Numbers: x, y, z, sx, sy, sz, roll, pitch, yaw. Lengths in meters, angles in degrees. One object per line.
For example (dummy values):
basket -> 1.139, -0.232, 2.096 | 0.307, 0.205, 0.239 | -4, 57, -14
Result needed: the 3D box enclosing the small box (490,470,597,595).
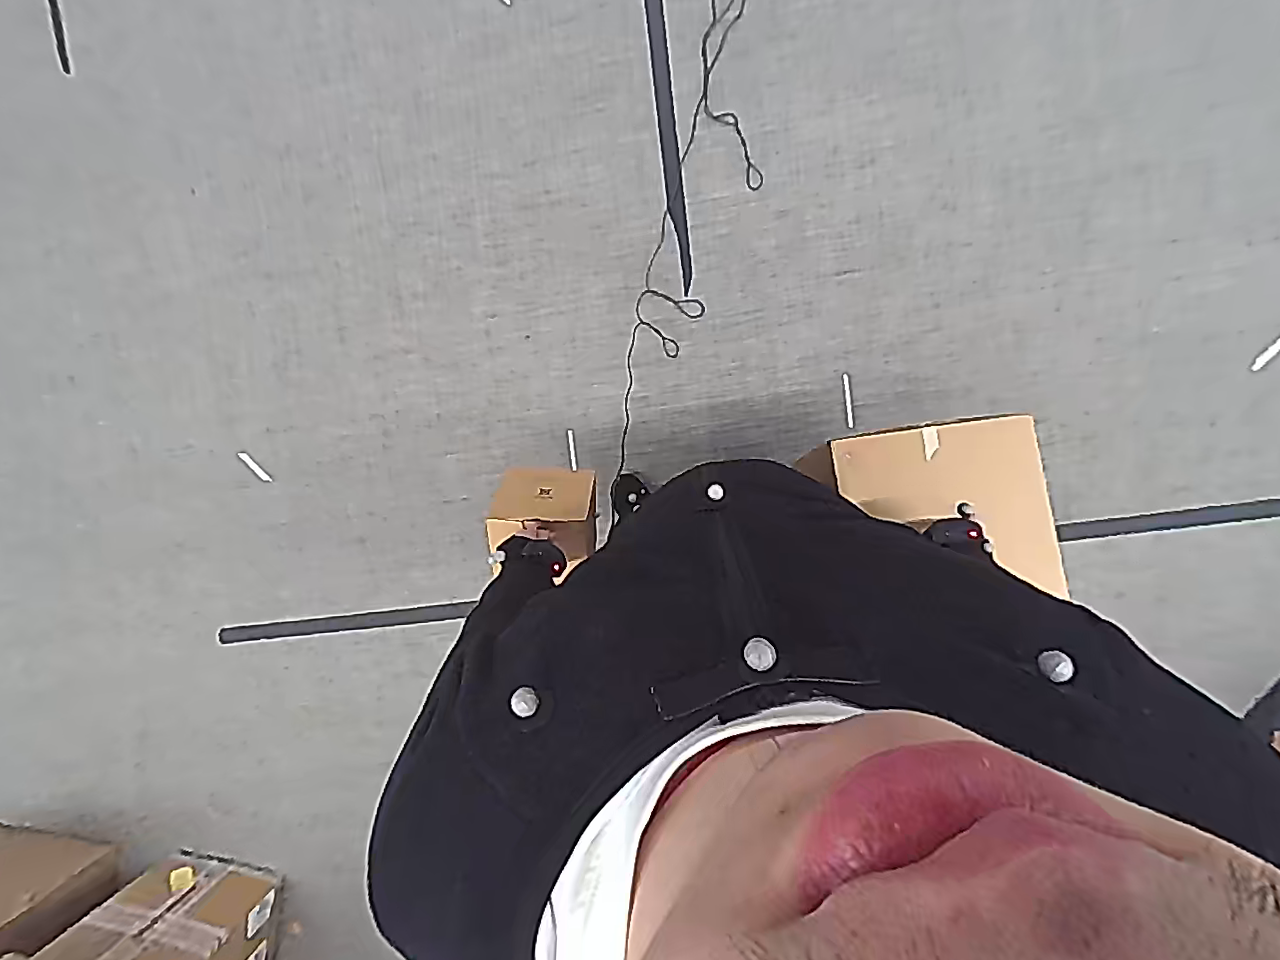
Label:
small box -> -0.168, 0.096, 1.003 | 0.168, 0.179, 0.176 | 2, 119, 0
